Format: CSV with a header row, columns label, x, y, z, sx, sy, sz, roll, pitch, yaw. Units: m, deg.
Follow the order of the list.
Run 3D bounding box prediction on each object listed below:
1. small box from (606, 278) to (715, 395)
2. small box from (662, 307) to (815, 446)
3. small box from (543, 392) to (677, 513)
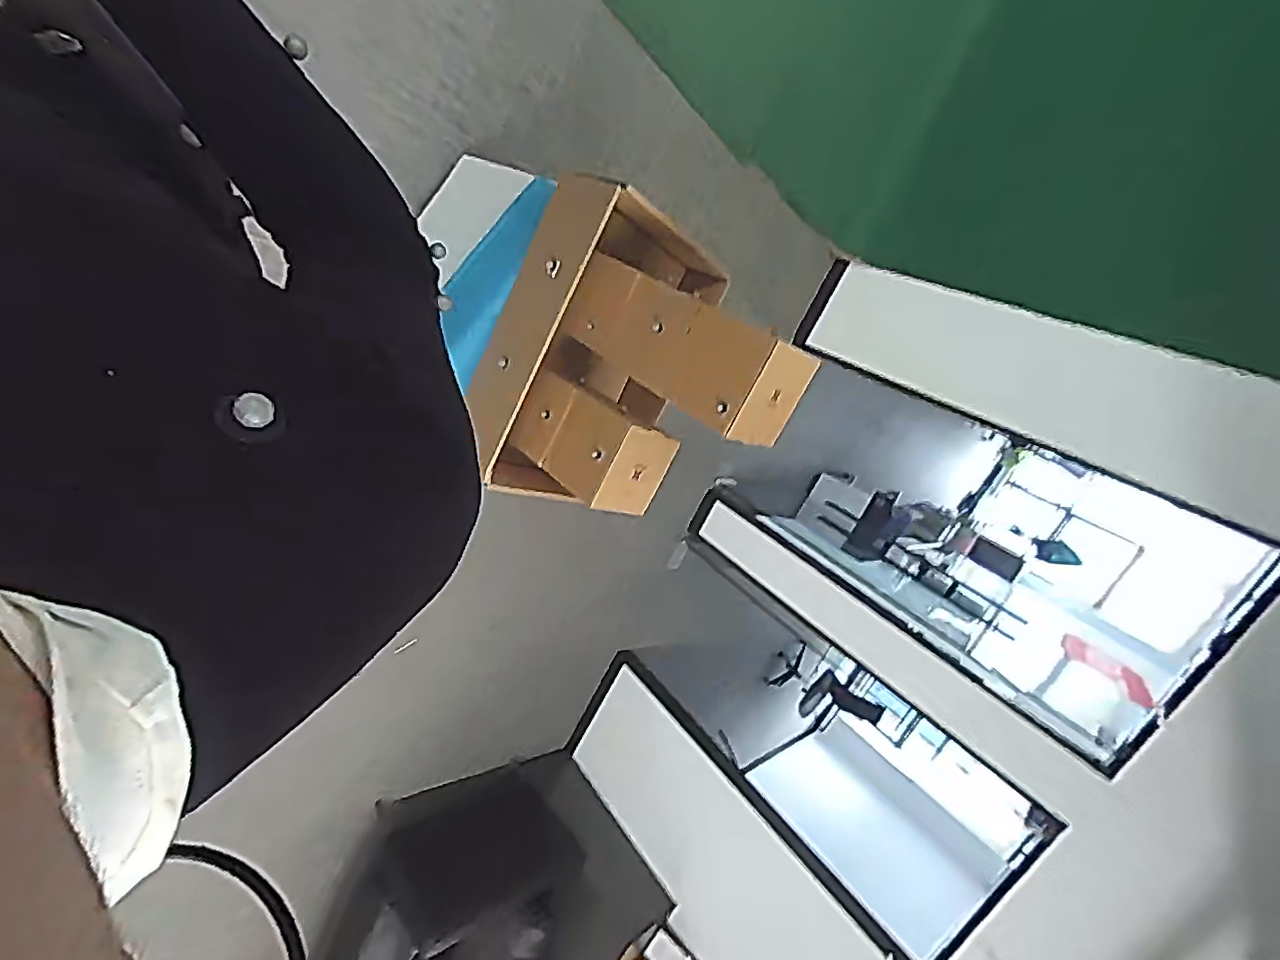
label,x,y,z,sx,sy,sz,roll,pitch,yaw
small box,0.062,-0.266,1.045,0.168,0.176,0.179,5,118,-50
small box,0.168,-0.182,0.954,0.168,0.176,0.179,3,120,-50
small box,-0.065,-0.056,1.084,0.168,0.176,0.179,14,109,-52
